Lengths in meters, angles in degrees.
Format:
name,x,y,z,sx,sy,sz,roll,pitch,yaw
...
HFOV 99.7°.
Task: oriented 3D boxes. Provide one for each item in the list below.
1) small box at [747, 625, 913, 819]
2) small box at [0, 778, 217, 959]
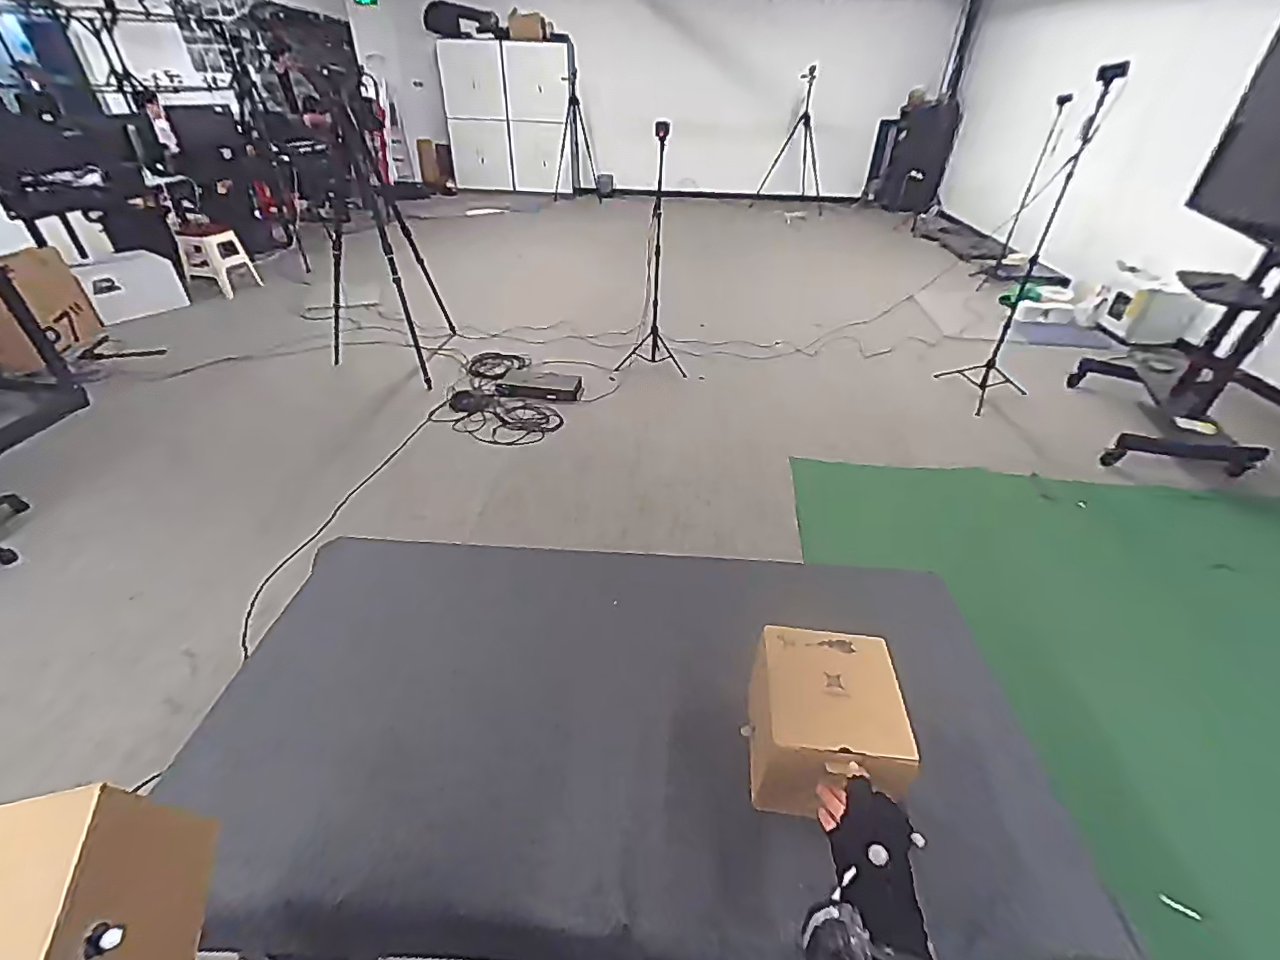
name,x,y,z,sx,sy,sz,roll,pitch,yaw
small box,0.239,0.325,0.730,0.168,0.176,0.179,6,37,5
small box,-0.445,0.341,0.382,0.168,0.176,0.179,-8,50,-12
